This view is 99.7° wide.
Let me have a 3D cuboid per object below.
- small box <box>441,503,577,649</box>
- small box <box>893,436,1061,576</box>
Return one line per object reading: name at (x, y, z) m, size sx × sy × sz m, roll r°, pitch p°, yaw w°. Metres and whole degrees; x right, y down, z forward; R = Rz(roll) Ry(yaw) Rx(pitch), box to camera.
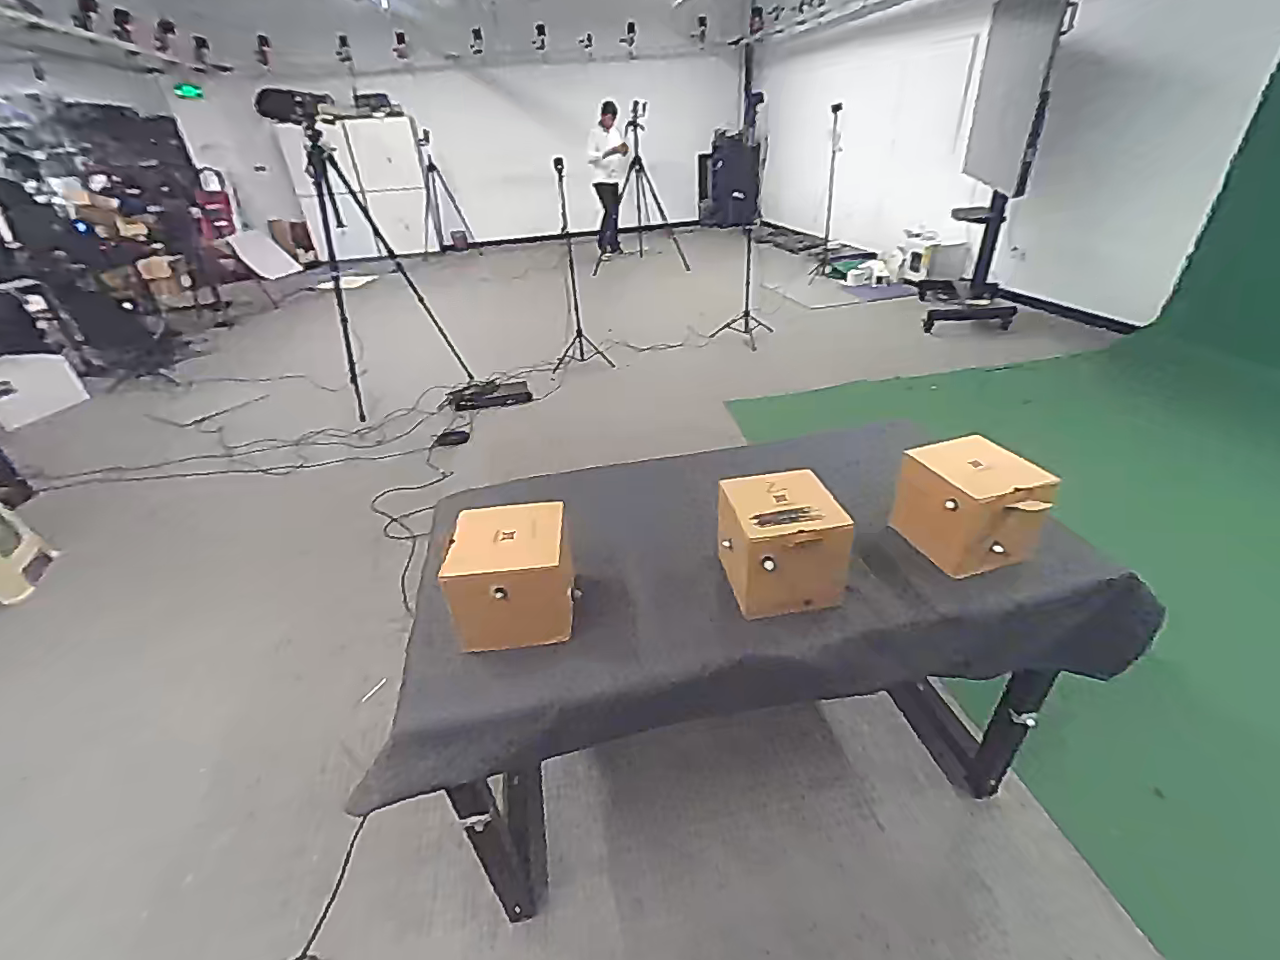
small box at (-0.202, 0.158, 0.886) m, size 0.179 × 0.176 × 0.168 m, roll -5°, pitch 33°, yaw -3°
small box at (0.588, 0.044, 0.972) m, size 0.168 × 0.176 × 0.179 m, roll -12°, pitch 33°, yaw -12°
